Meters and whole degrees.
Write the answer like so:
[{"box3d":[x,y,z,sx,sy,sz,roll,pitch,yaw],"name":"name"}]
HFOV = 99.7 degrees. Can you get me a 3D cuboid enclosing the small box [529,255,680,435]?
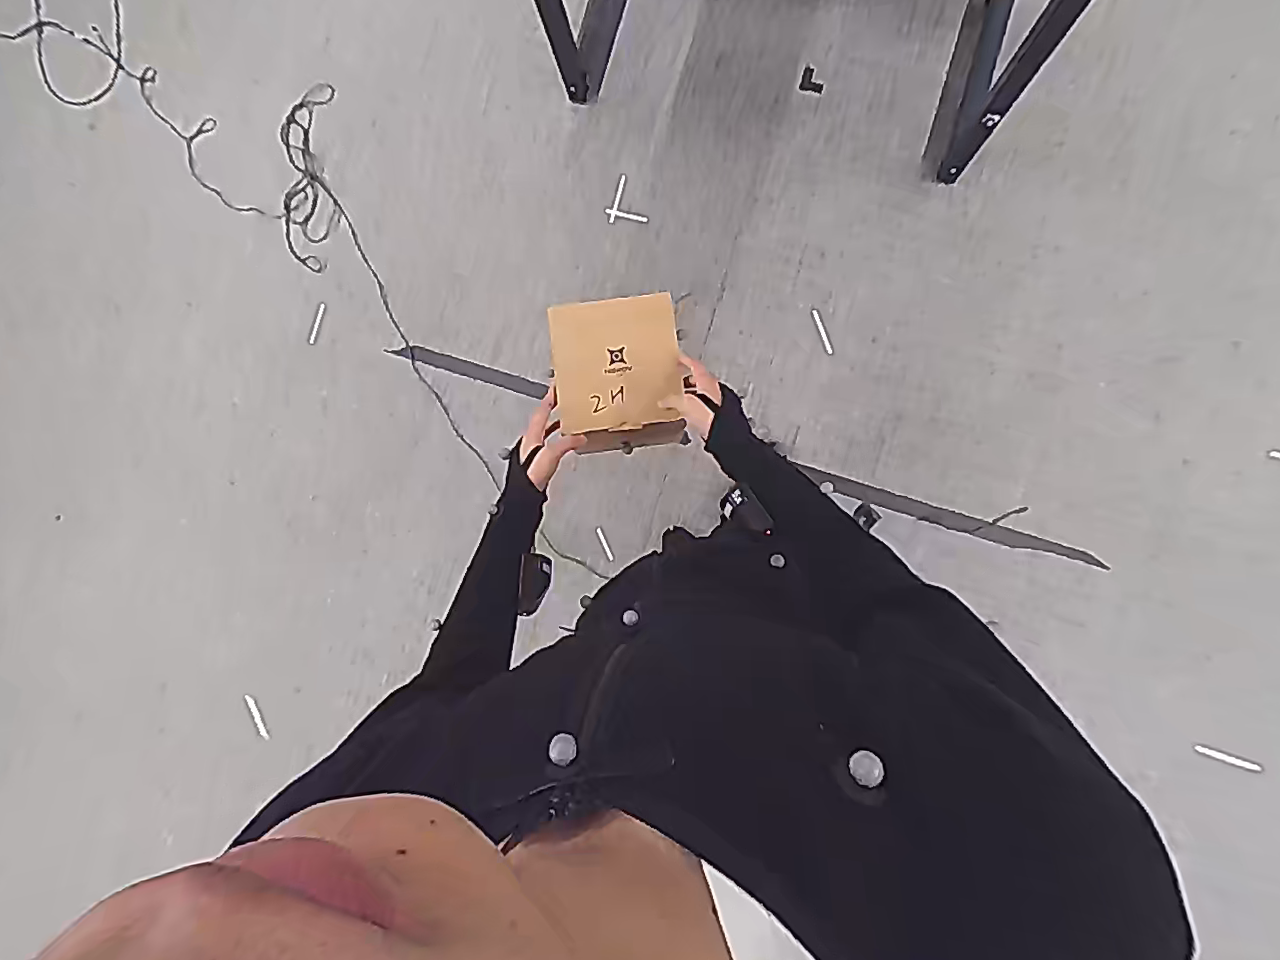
[{"box3d":[-0.044,-0.167,0.714,0.168,0.176,0.179,-7,85,-1],"name":"small box"}]
